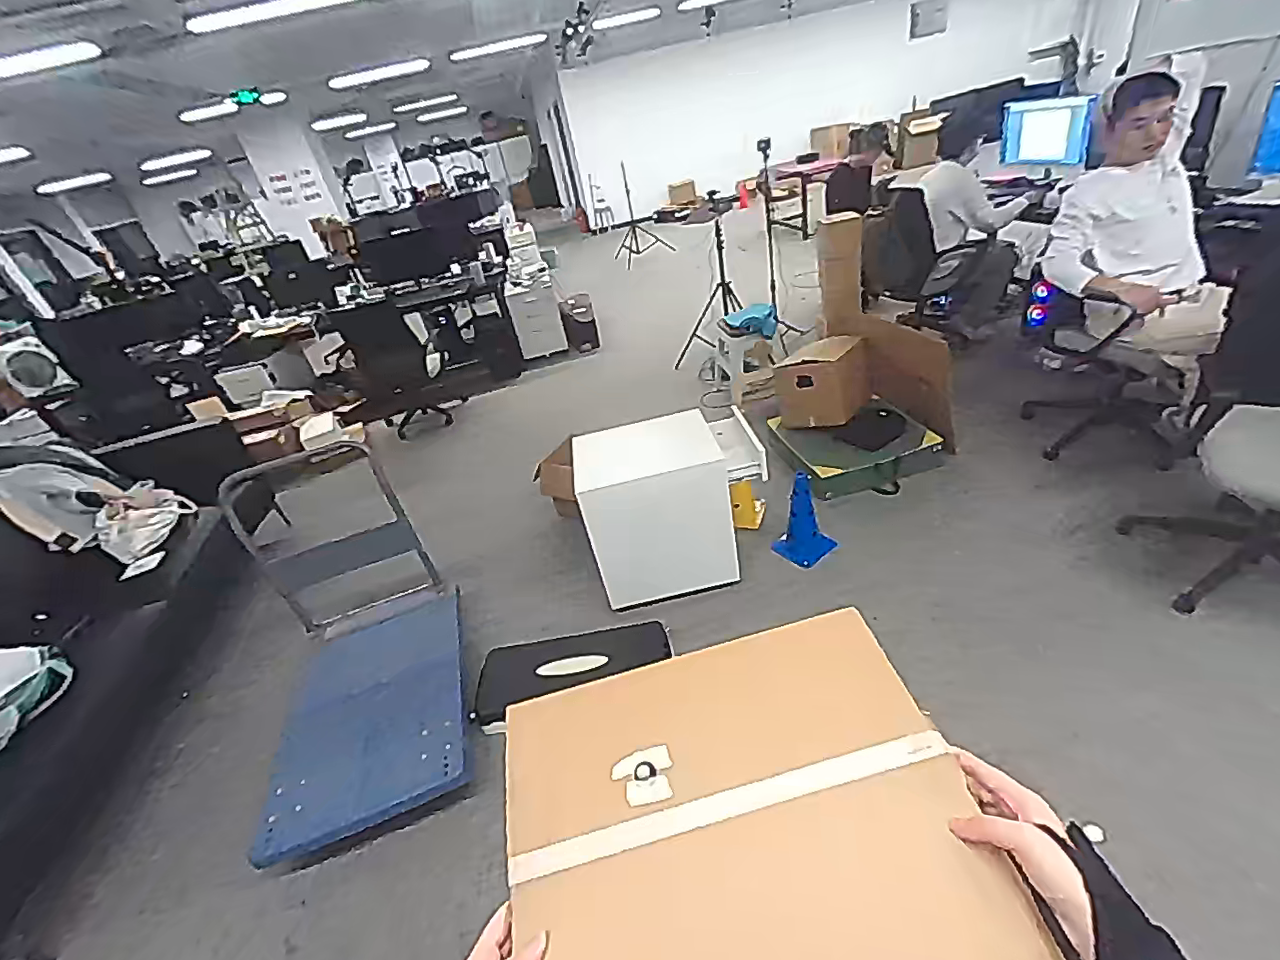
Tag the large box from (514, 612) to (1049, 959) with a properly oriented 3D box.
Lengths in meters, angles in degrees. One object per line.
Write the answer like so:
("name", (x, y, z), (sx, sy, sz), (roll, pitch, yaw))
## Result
("large box", (0.113, 0.409, 0.597), (0.408, 0.320, 0.320), (-18, 42, 0))
